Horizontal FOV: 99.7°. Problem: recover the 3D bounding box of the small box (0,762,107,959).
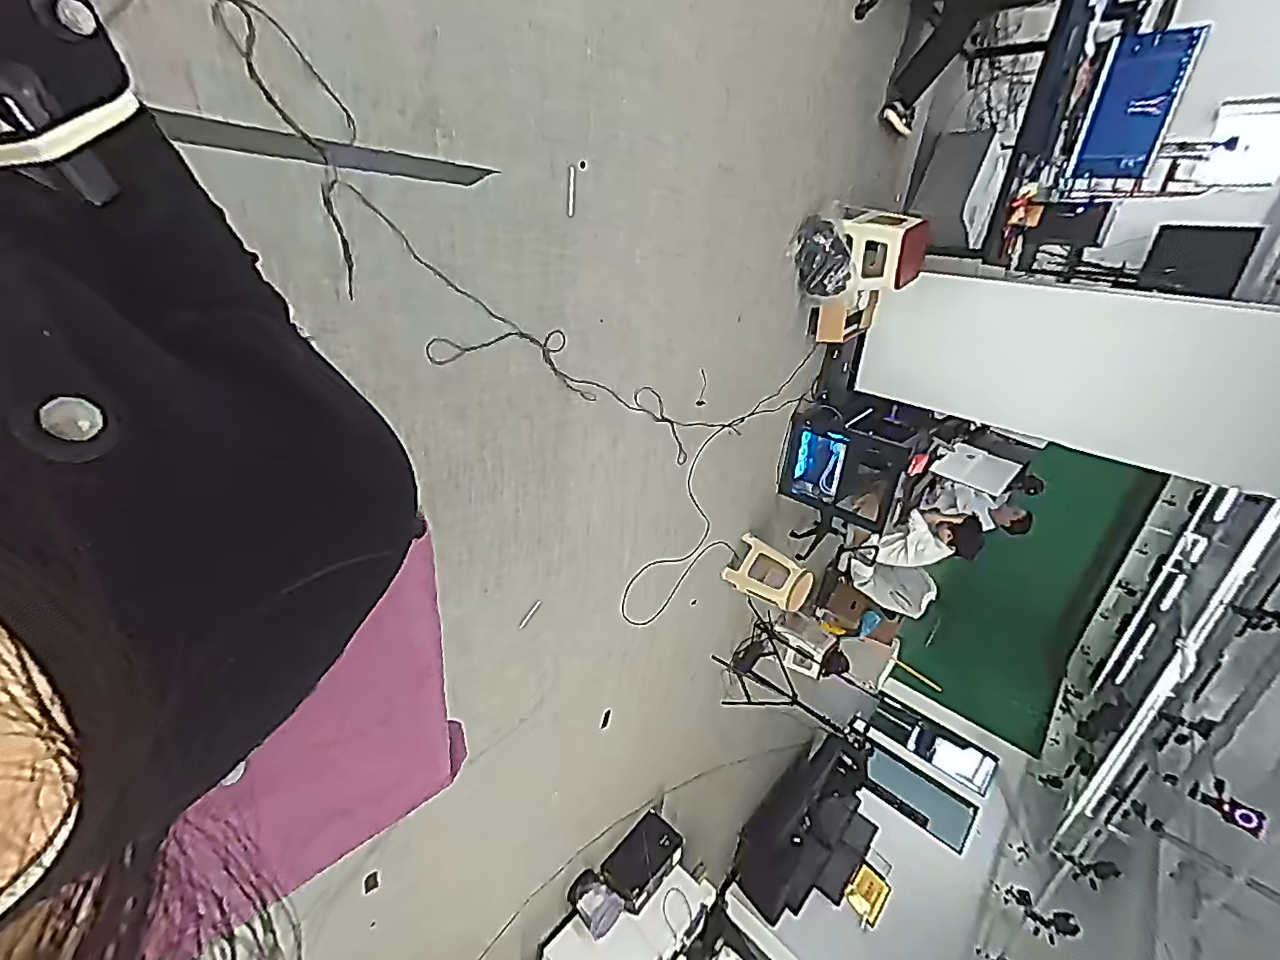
[{"bbox_3d":[-0.700,0.445,0.564,0.168,0.176,0.179,-19,124,-46],"label":"small box"}]
